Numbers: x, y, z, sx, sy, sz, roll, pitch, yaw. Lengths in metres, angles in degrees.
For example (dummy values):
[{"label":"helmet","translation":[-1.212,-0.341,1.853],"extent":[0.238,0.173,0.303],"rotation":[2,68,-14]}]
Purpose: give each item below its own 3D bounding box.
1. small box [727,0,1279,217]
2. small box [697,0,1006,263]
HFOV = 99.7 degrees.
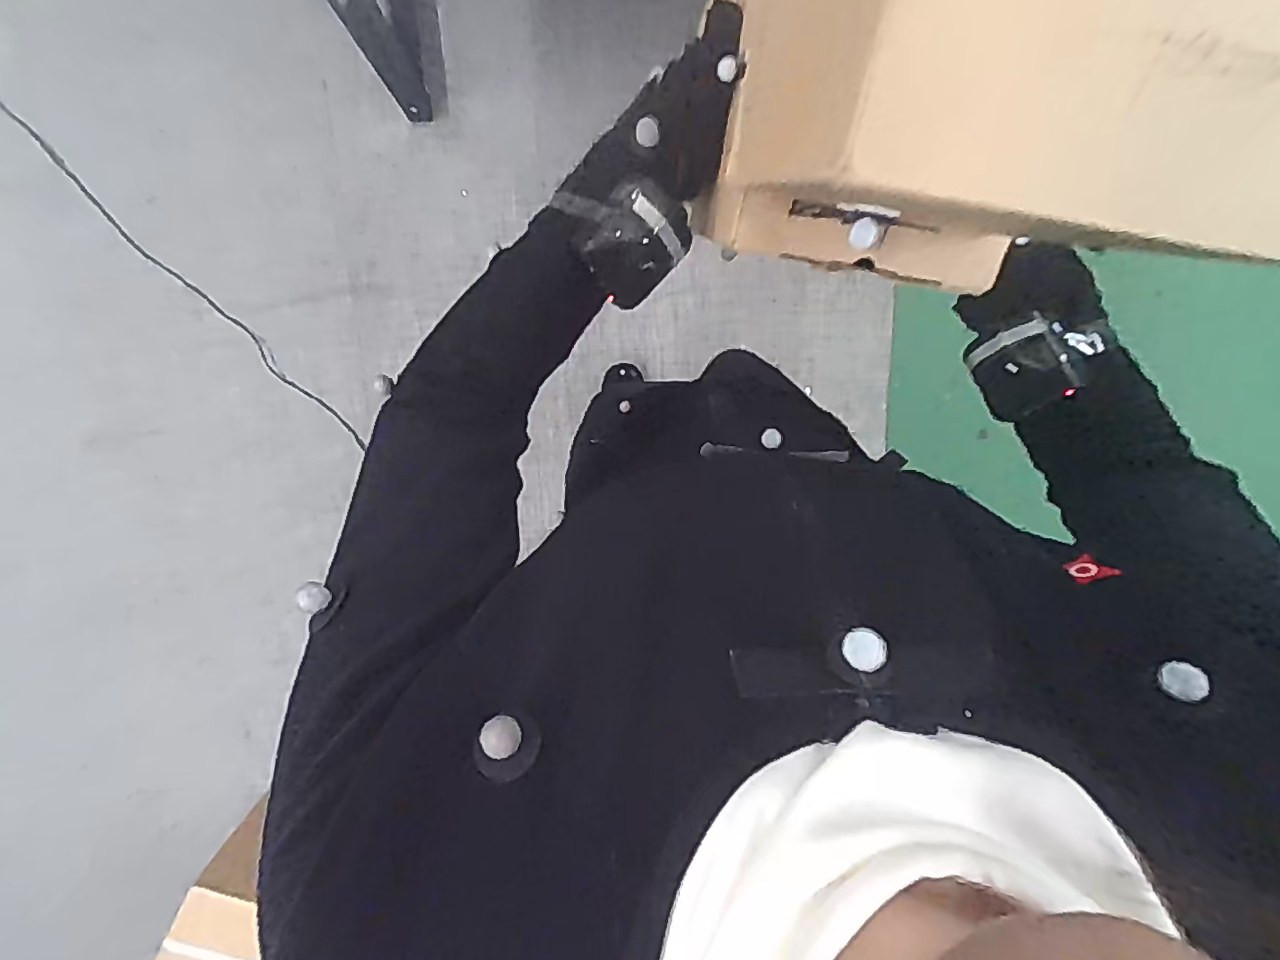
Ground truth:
[{"label":"small box","translation":[0.139,-0.207,0.193],"extent":[0.168,0.176,0.179],"rotation":[7,118,-7]},{"label":"small box","translation":[0.137,-0.254,0.352],"extent":[0.168,0.176,0.179],"rotation":[4,119,-6]}]
